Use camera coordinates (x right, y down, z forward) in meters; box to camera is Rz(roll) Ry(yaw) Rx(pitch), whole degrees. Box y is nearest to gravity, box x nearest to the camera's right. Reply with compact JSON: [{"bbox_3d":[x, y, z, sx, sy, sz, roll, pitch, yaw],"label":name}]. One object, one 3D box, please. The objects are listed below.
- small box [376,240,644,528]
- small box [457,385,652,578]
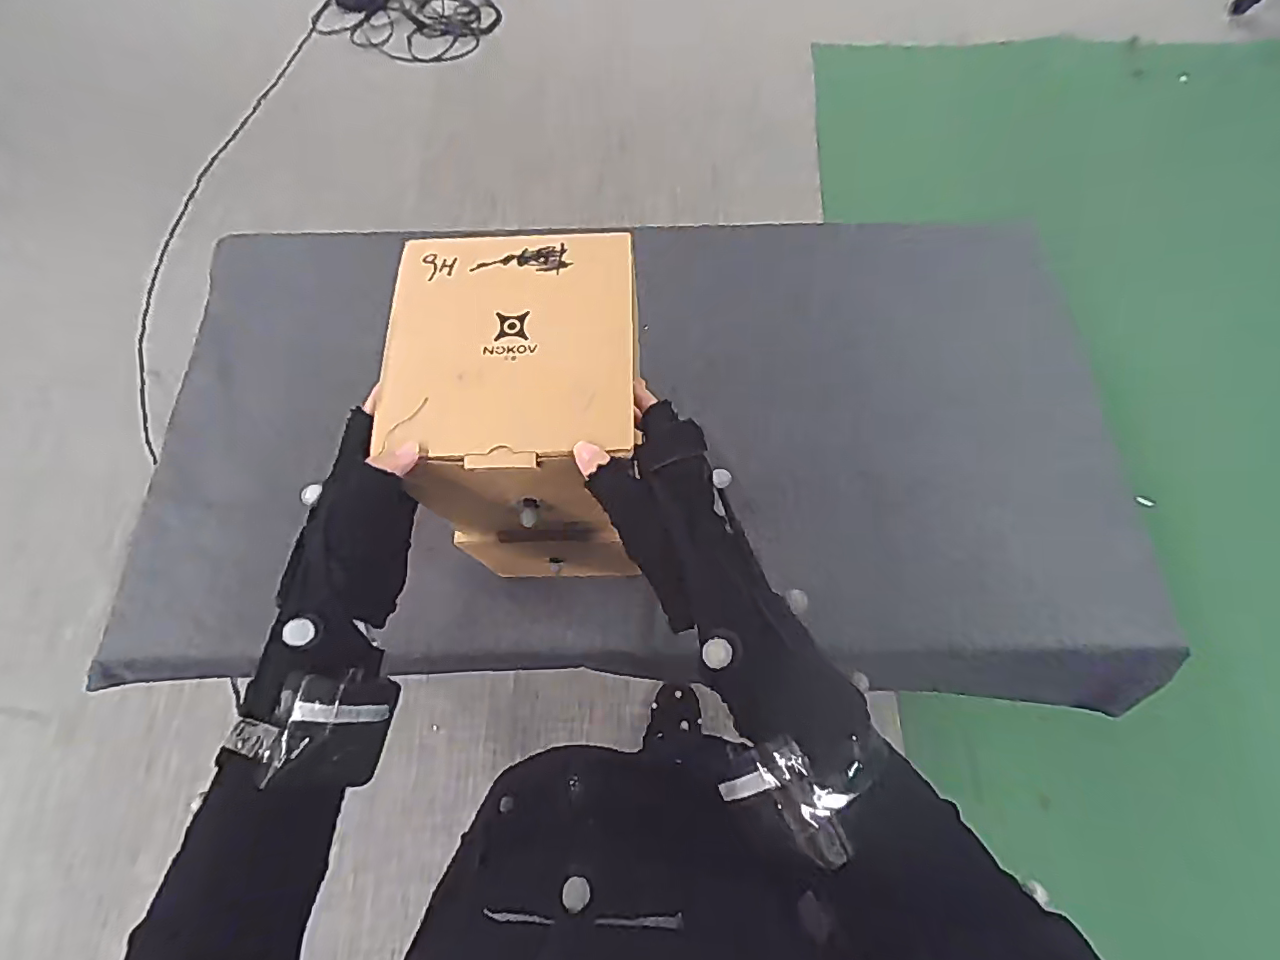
[{"bbox_3d":[-0.082,-0.061,0.435,0.168,0.176,0.179,-2,70,1],"label":"small box"},{"bbox_3d":[-0.077,0.009,0.583,0.179,0.176,0.168,-2,69,1],"label":"small box"}]
